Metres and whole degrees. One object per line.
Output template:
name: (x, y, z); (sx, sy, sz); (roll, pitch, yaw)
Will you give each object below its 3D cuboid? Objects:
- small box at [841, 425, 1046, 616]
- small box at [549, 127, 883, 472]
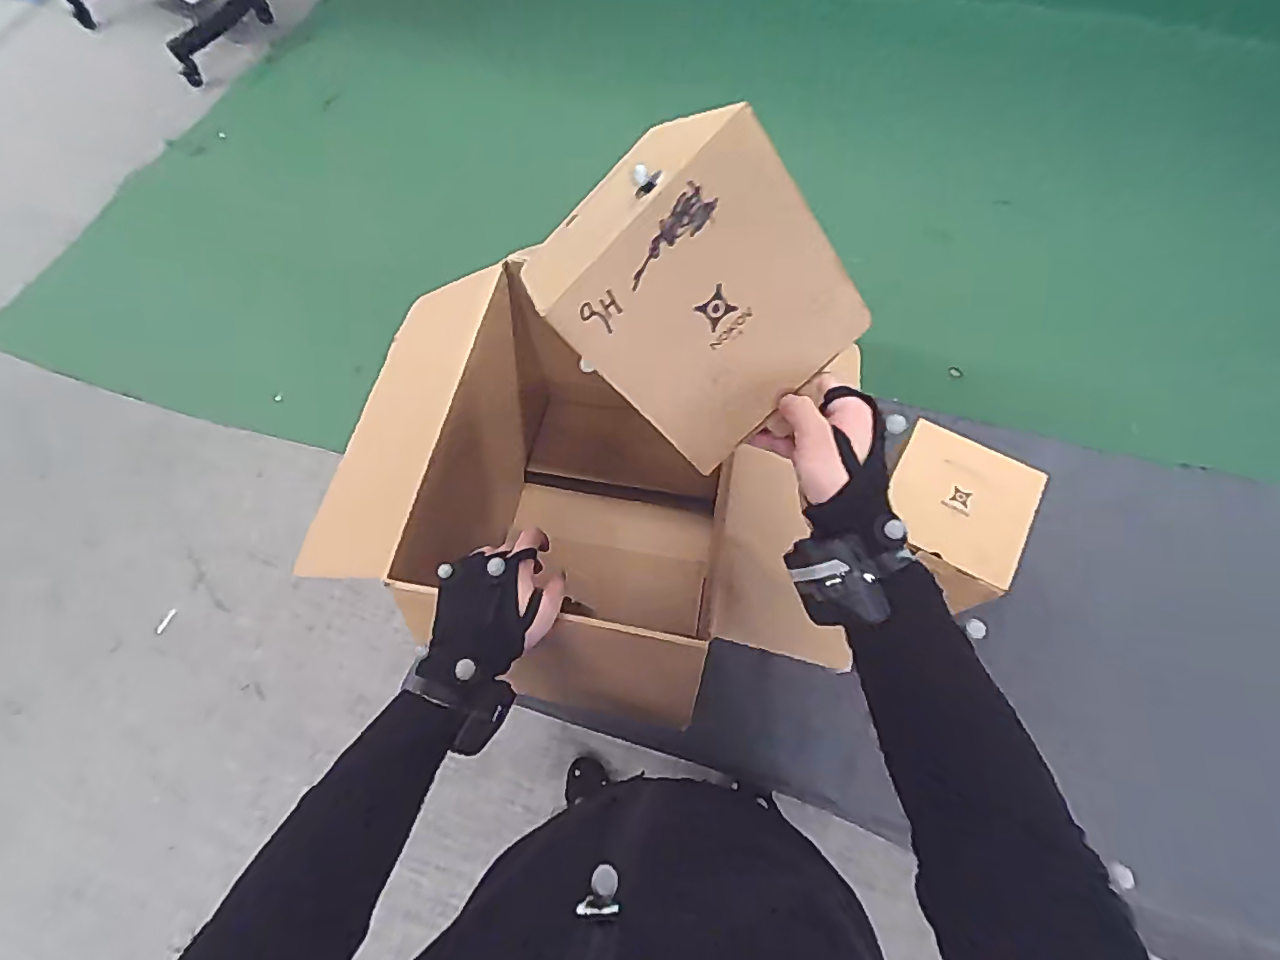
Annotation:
small box: (0.398, 0.064, 0.740); (0.168, 0.176, 0.179); (29, 69, 13)
small box: (0.049, -0.145, 0.435); (0.168, 0.179, 0.176); (-42, 32, 9)
